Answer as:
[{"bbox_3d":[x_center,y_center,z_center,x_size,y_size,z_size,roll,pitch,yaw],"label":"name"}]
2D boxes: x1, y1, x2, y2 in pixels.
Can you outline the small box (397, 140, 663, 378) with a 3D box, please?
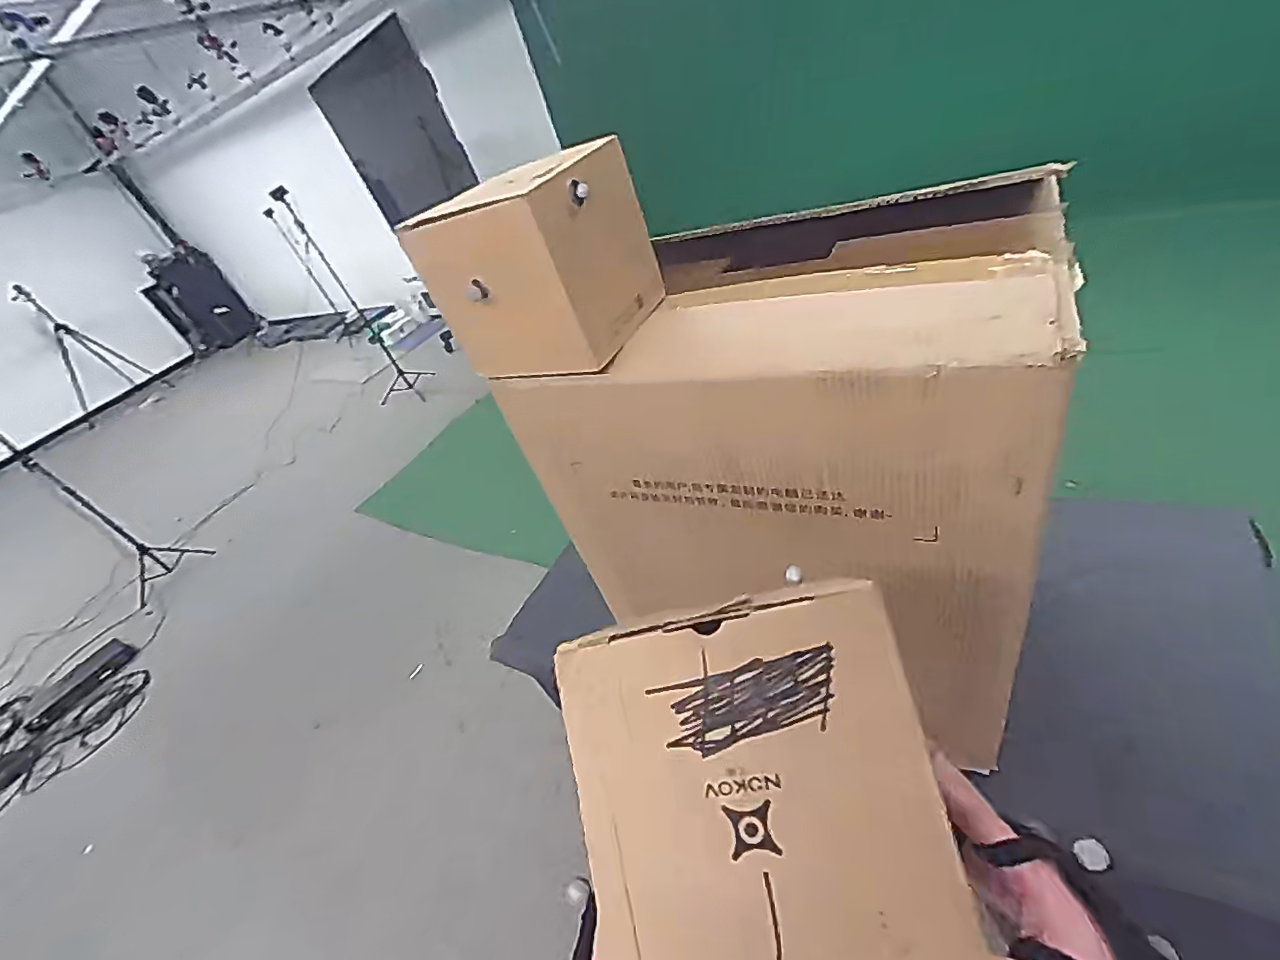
[{"bbox_3d":[-0.102,-0.219,0.564,0.179,0.176,0.168,5,45,32],"label":"small box"}]
